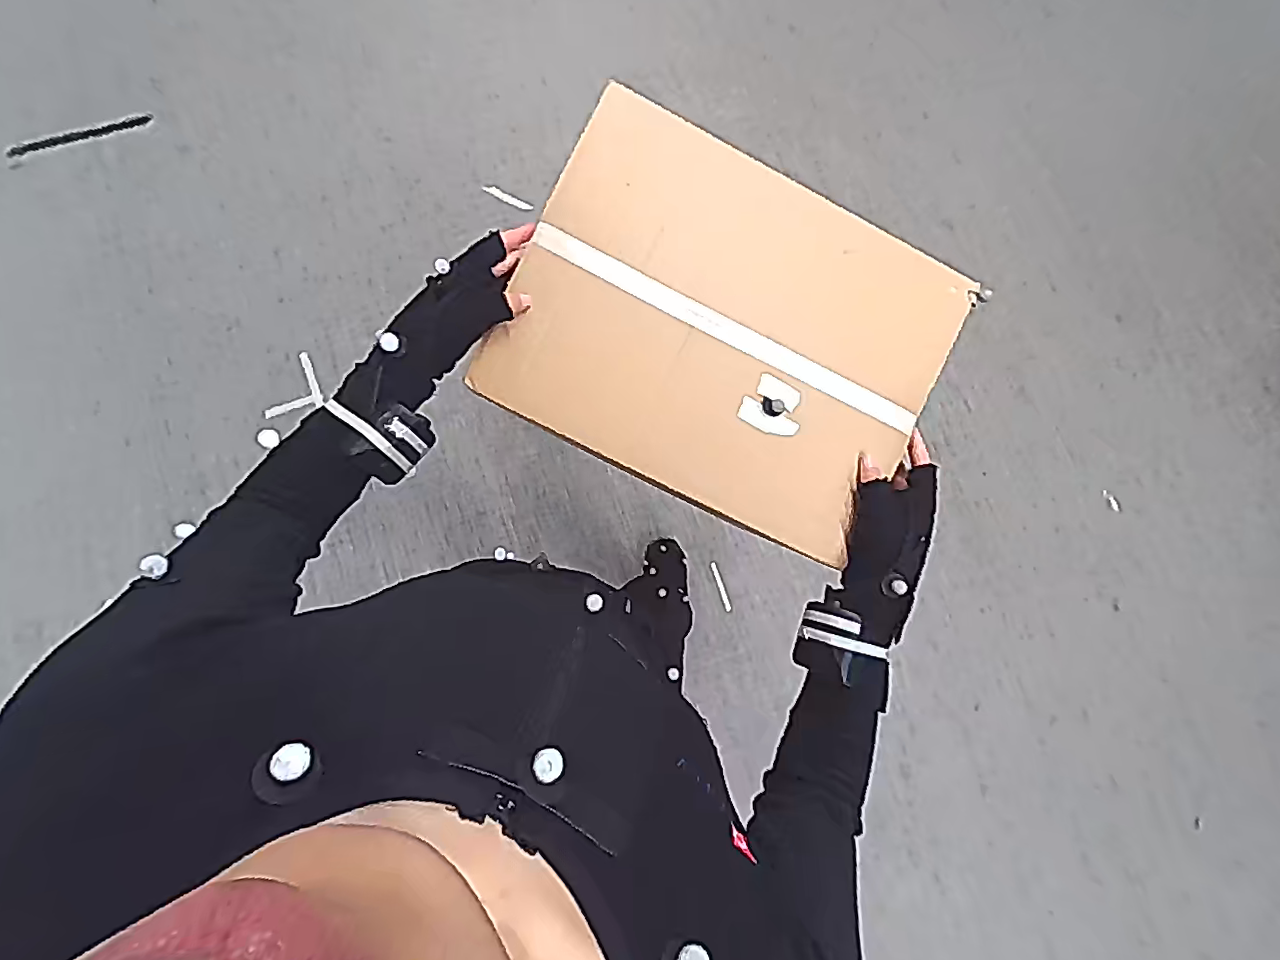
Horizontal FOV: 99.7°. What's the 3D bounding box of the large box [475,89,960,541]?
[{"bbox_3d":[0.068,-0.158,0.671,0.408,0.320,0.320,24,90,-6],"label":"large box"}]
